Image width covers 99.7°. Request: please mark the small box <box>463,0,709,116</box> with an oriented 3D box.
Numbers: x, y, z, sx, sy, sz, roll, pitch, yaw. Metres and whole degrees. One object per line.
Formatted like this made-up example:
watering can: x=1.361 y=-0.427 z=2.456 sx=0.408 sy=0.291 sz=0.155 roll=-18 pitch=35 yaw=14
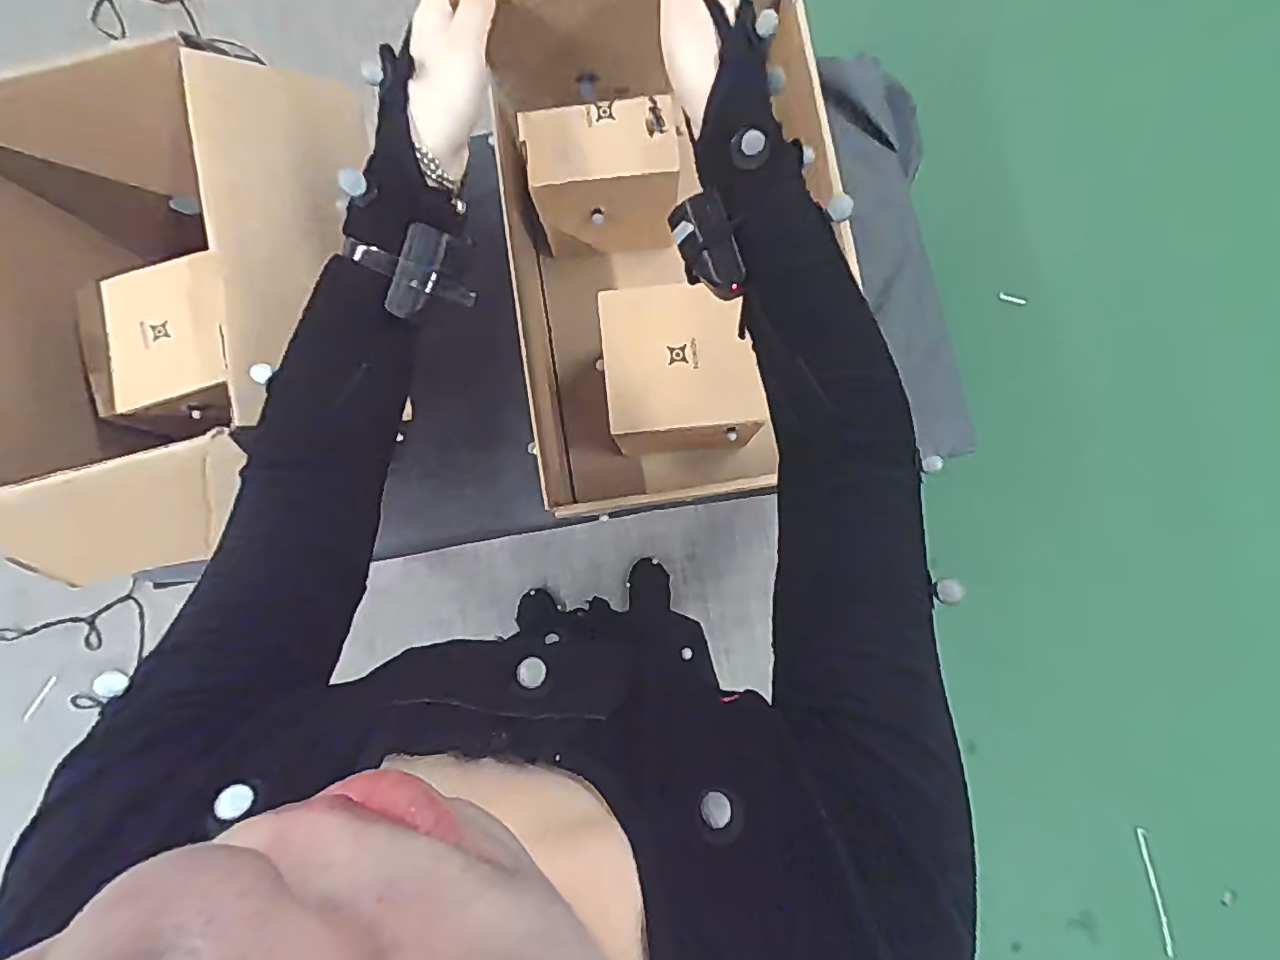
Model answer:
small box: x=-0.042 y=-0.411 z=0.403 sx=0.168 sy=0.176 sz=0.179 roll=-5 pitch=103 yaw=2
